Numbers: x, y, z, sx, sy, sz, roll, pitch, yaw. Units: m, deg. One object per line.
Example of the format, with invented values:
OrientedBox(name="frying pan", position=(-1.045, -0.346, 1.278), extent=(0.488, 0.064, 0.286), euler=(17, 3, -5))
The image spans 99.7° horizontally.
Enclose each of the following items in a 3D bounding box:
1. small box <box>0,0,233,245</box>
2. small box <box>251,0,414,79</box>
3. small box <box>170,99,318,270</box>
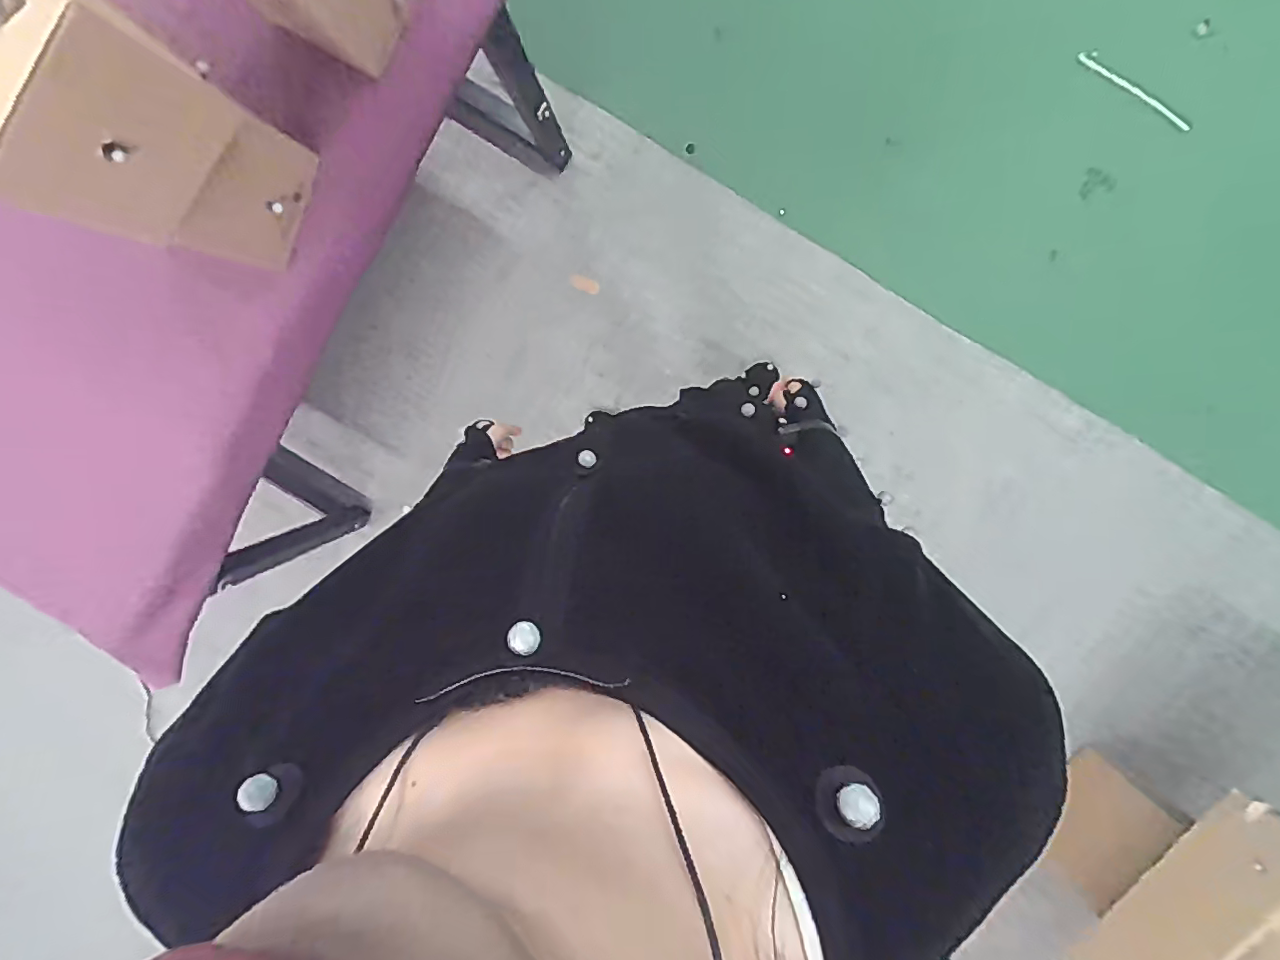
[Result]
OrientedBox(name="small box", position=(-0.531, -0.355, 0.497), extent=(0.168, 0.176, 0.179), euler=(40, 101, -2))
OrientedBox(name="small box", position=(-0.372, -0.615, 0.608), extent=(0.168, 0.176, 0.179), euler=(28, 101, -1))
OrientedBox(name="small box", position=(-0.547, -0.380, 0.661), extent=(0.179, 0.176, 0.168), euler=(26, 101, 0))
